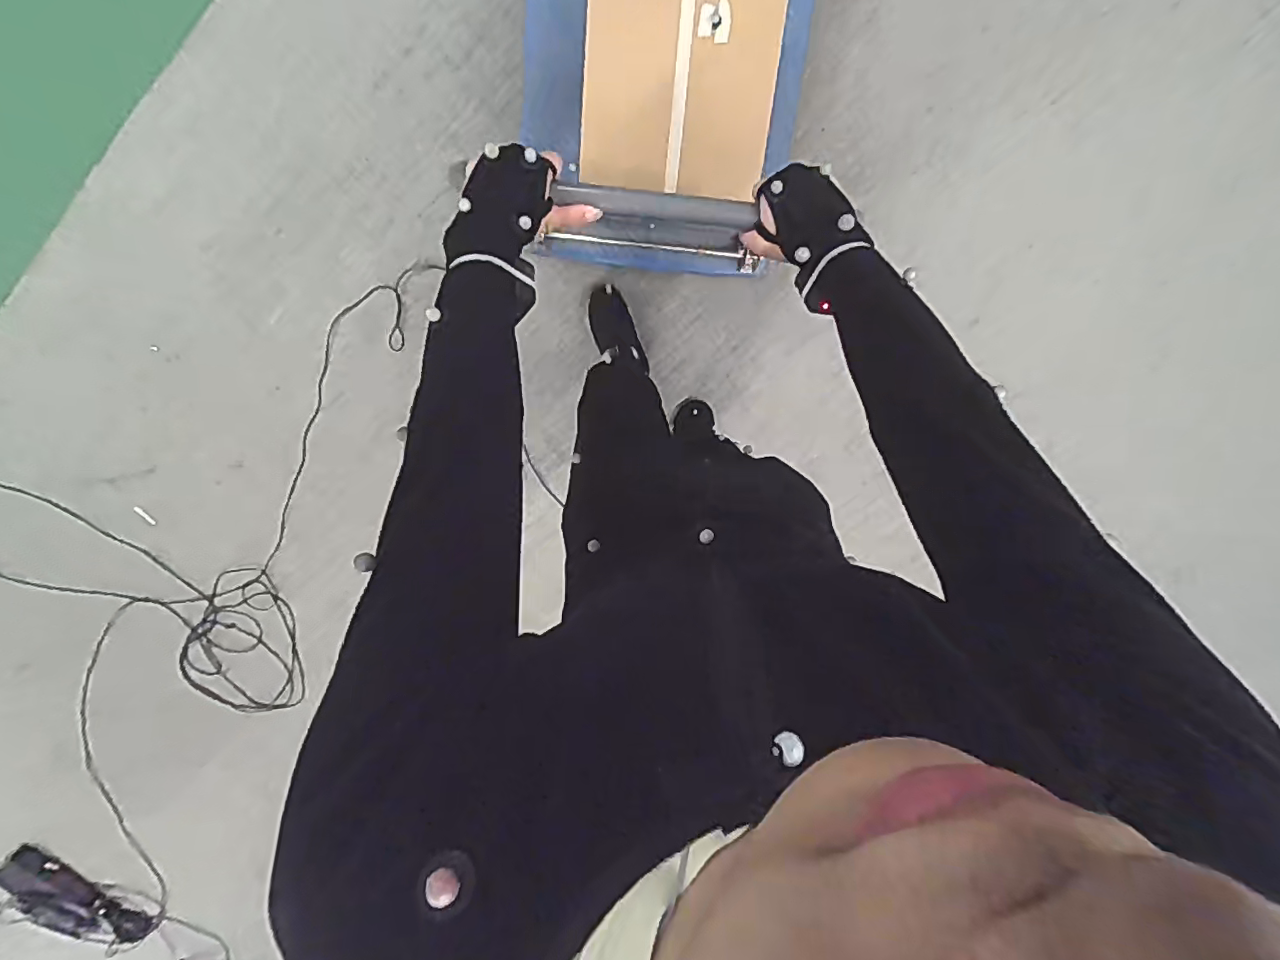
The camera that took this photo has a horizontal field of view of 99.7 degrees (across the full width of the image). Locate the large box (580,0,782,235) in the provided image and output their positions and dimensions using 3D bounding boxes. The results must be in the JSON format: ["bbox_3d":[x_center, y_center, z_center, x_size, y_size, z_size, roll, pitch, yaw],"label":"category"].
[{"bbox_3d":[0.066,-0.712,1.039,0.320,0.320,0.408,5,109,-2],"label":"large box"}]
